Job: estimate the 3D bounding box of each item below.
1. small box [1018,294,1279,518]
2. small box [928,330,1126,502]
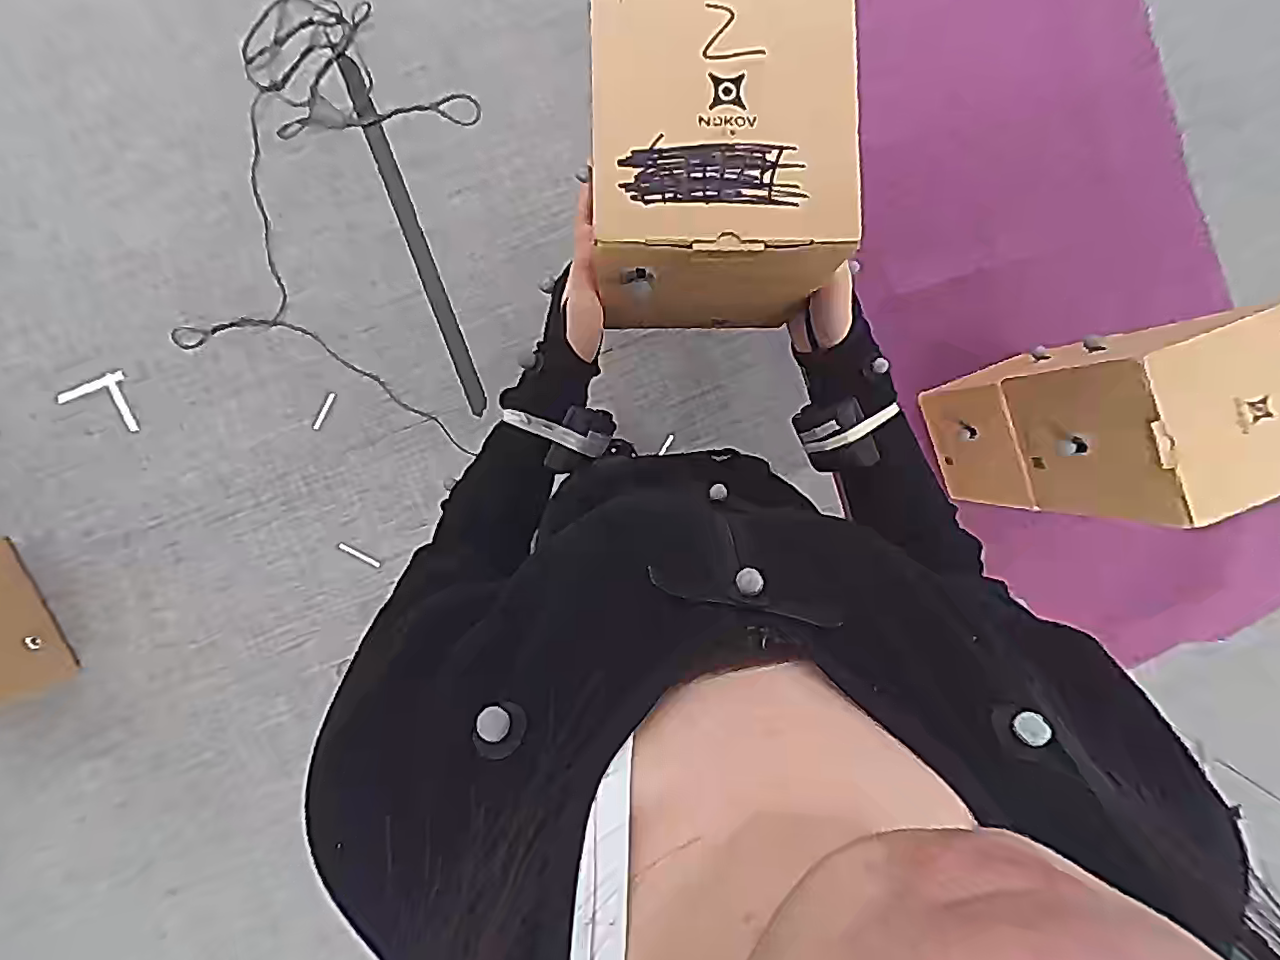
[{"bbox_3d":[0.539,-0.071,0.564,0.179,0.176,0.168,-20,94,-3],"label":"small box"},{"bbox_3d":[0.522,-0.079,0.727,0.179,0.176,0.168,-21,94,-3],"label":"small box"}]
